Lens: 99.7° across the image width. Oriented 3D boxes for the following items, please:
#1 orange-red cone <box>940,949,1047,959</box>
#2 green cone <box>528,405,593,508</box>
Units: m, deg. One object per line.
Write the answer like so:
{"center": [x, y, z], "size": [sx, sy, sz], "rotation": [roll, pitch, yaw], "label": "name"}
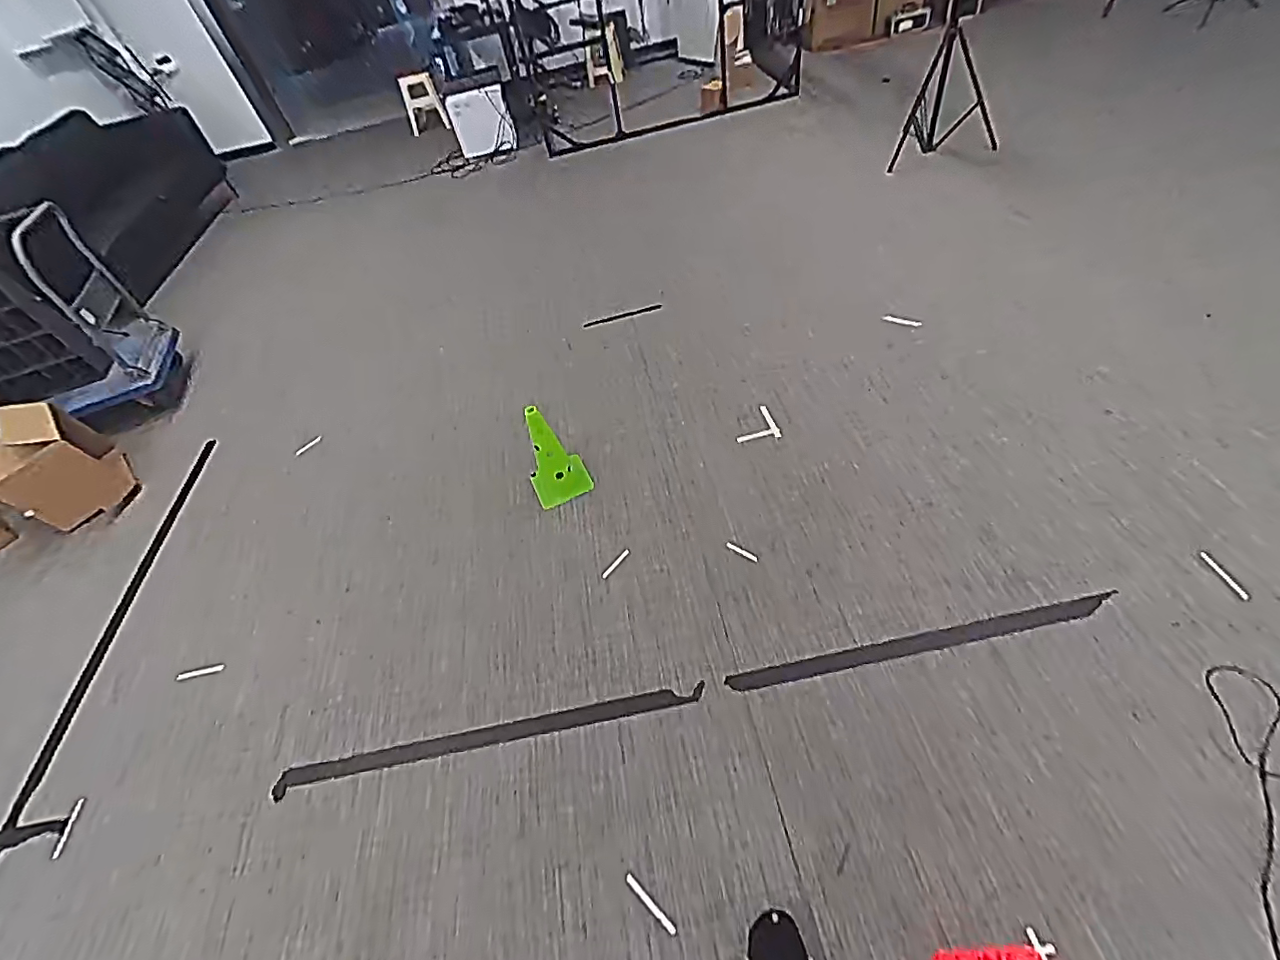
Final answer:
{"center": [0.621, 0.841, 0.818], "size": [0.199, 0.360, 0.198], "rotation": [-9, 48, 7], "label": "orange-red cone"}
{"center": [-0.317, -0.106, 1.855], "size": [0.202, 0.368, 0.200], "rotation": [-25, 50, -10], "label": "green cone"}
